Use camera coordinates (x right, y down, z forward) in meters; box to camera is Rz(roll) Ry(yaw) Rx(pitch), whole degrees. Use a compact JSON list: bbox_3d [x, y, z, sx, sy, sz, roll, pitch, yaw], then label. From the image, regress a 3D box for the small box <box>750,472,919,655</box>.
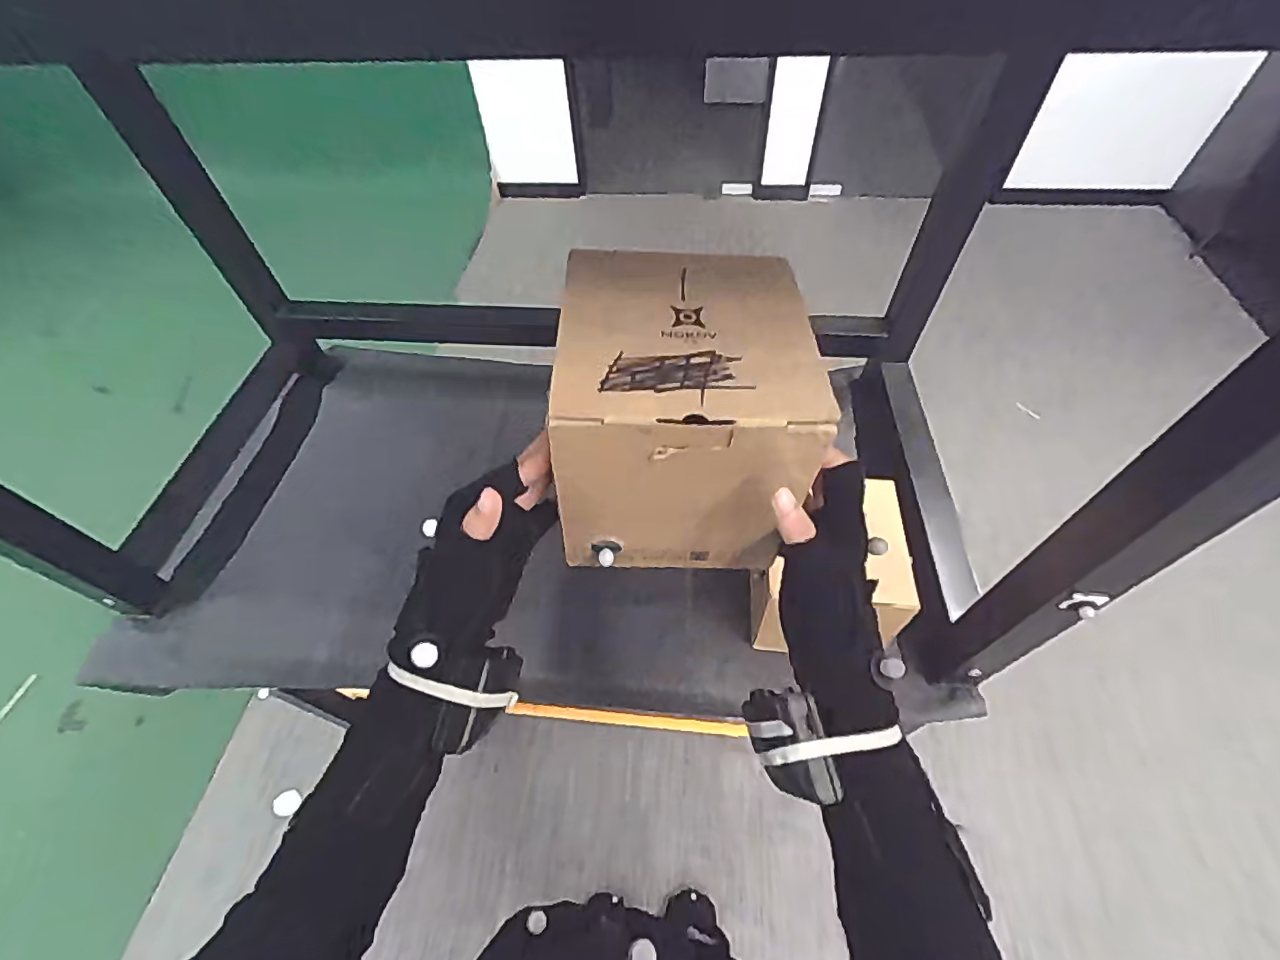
[{"bbox_3d":[0.237,0.111,0.712,0.168,0.176,0.179,3,53,6],"label":"small box"}]
